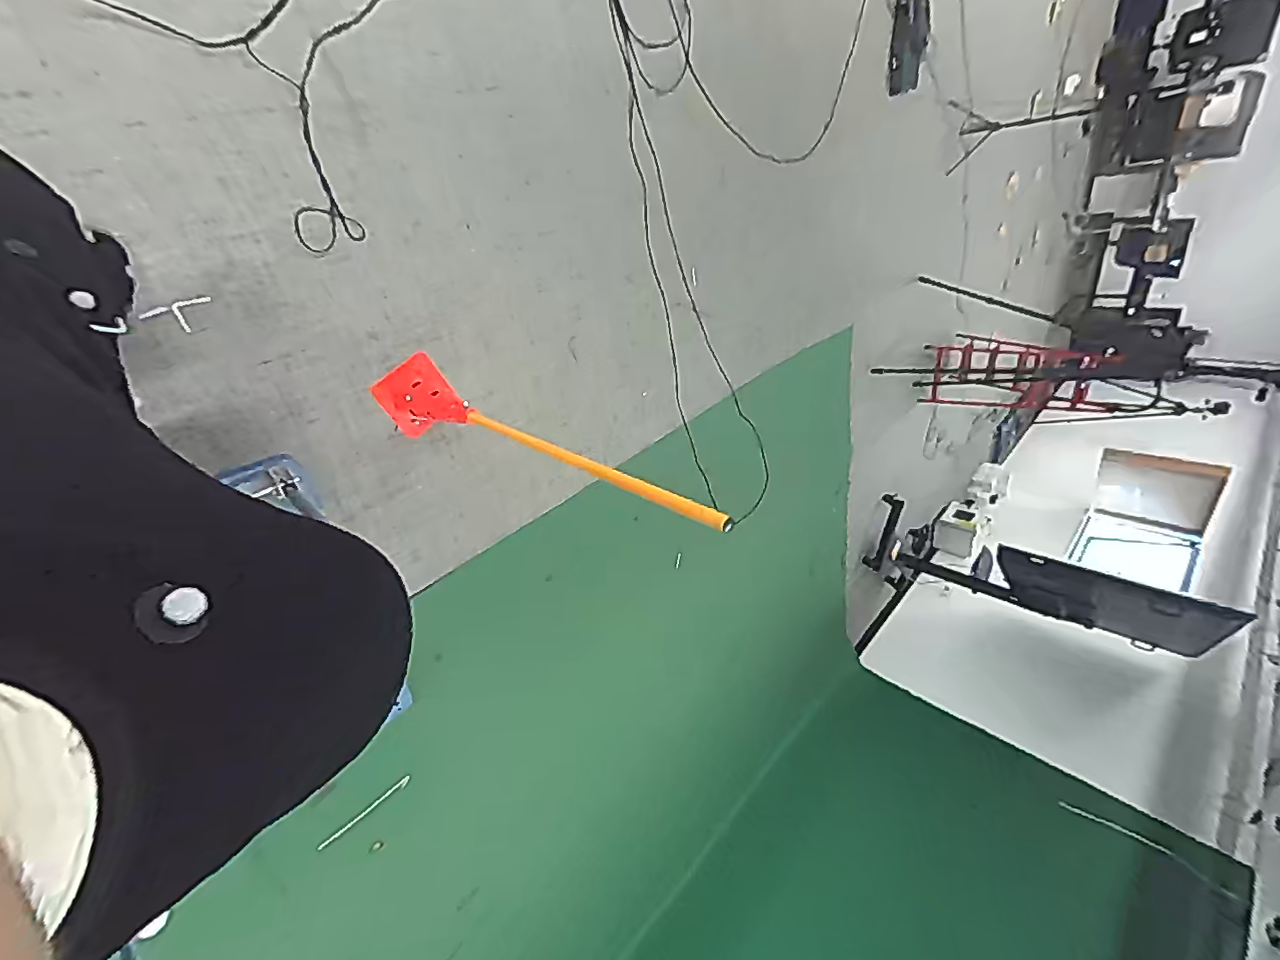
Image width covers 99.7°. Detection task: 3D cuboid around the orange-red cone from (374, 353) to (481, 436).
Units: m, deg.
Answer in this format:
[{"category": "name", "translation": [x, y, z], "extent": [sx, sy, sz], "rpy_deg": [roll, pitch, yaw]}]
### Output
[{"category": "orange-red cone", "translation": [-0.547, -0.212, 1.505], "extent": [0.199, 0.360, 0.198], "rpy_deg": [-48, 134, -24]}]
